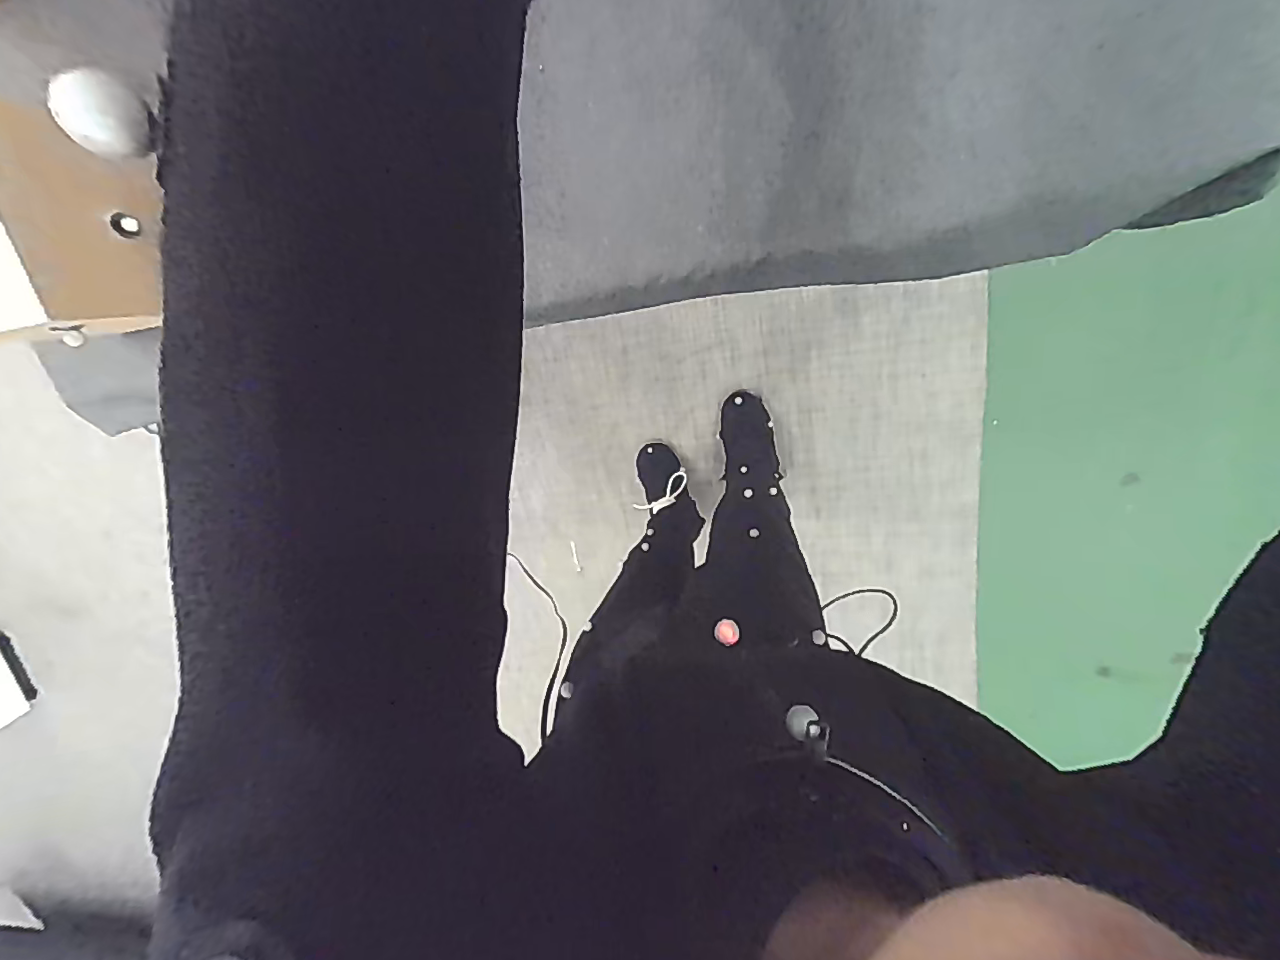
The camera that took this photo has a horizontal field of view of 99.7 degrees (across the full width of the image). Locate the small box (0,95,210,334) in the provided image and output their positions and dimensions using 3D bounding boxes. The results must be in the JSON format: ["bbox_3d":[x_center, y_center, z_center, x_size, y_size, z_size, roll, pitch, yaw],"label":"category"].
[{"bbox_3d":[-0.541,-0.228,0.488,0.179,0.176,0.168,-4,109,14],"label":"small box"}]
